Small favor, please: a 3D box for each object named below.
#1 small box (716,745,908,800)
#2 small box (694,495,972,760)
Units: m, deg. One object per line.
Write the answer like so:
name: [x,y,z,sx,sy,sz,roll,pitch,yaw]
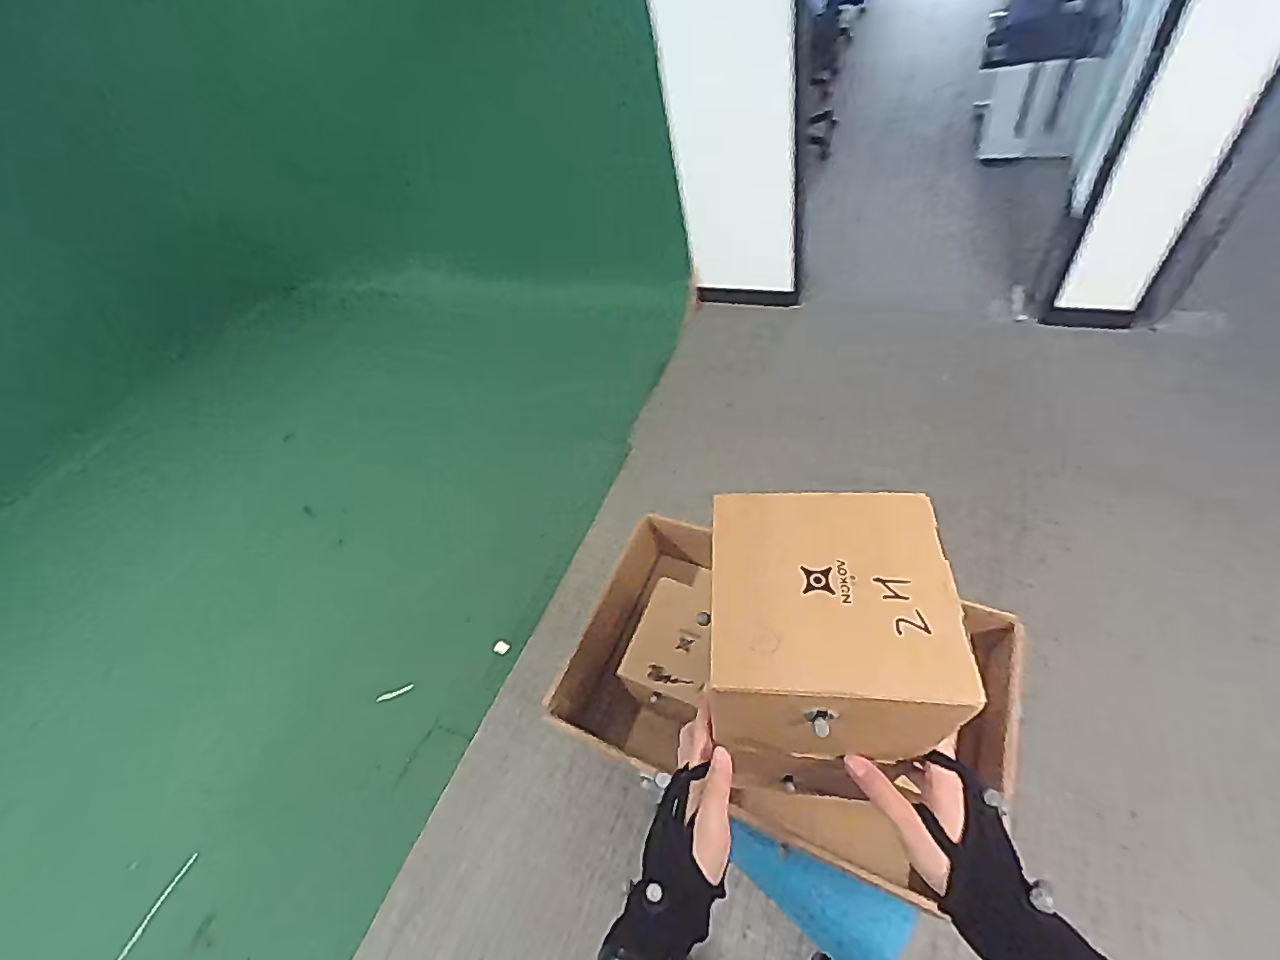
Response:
small box: [0.169,0.228,0.588,0.168,0.176,0.179,0,52,9]
small box: [0.141,0.128,0.460,0.179,0.176,0.168,0,52,9]
